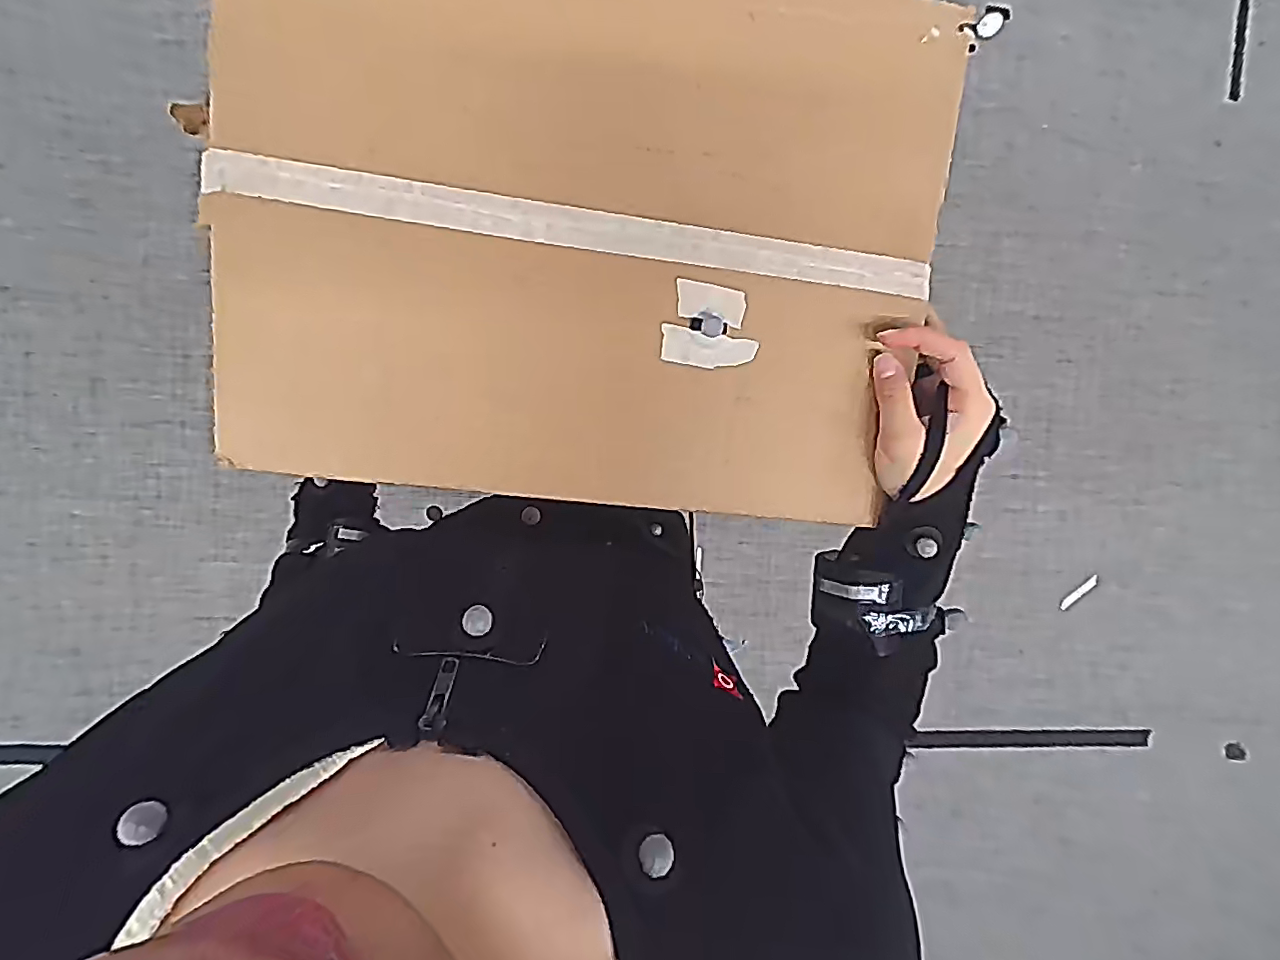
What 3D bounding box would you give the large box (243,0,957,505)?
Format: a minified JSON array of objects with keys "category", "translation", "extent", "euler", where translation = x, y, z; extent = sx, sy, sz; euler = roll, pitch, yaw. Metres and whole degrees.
[{"category":"large box","translation":[-0.038,-0.169,0.463],"extent":[0.408,0.320,0.320],"euler":[5,99,-10]}]
